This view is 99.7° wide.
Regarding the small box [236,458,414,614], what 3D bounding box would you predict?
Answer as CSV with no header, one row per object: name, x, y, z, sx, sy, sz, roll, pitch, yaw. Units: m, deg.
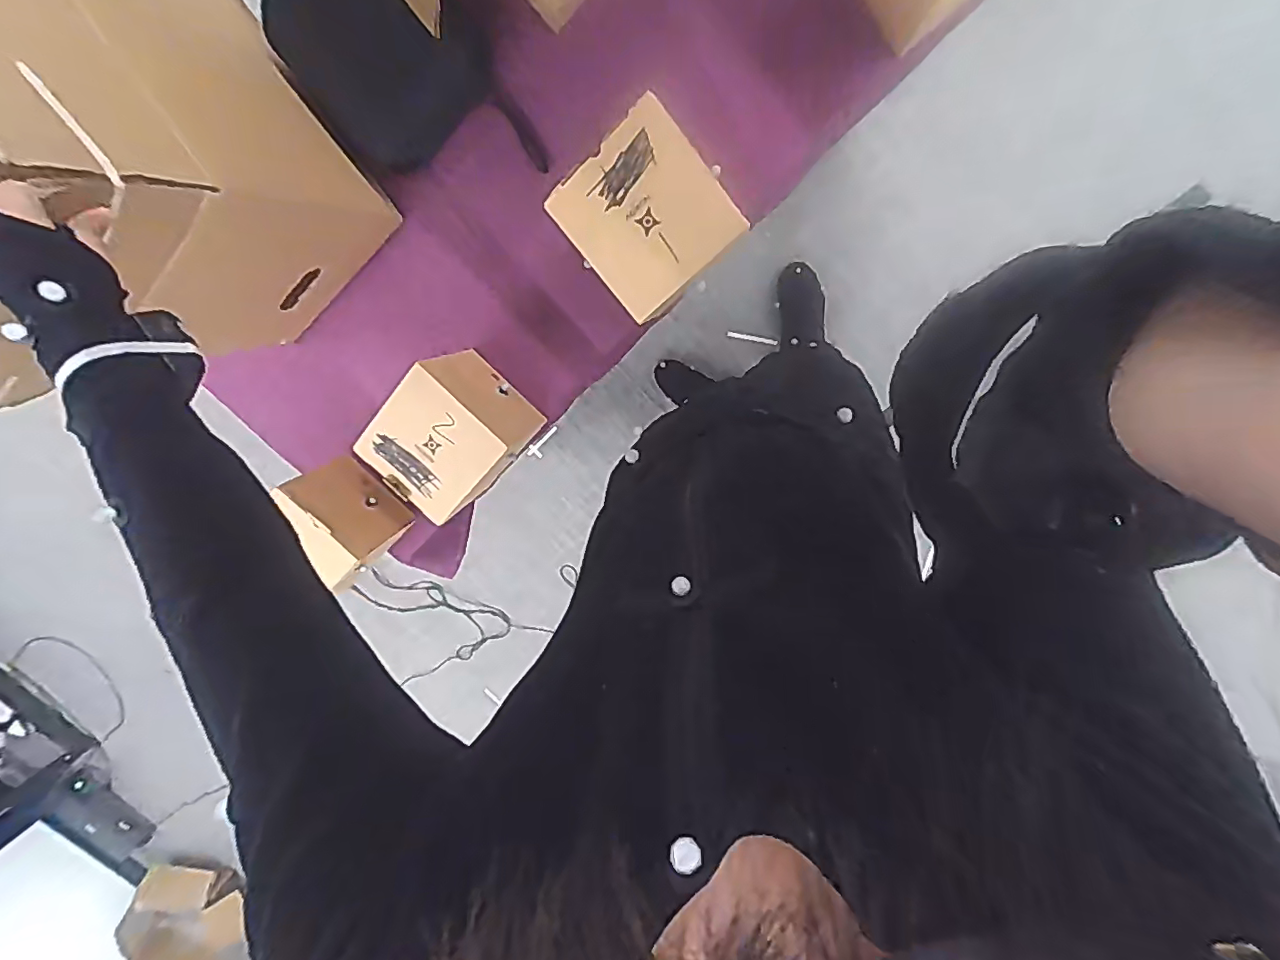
small box,-0.531,0.090,0.935,0.179,0.176,0.168,-42,98,20

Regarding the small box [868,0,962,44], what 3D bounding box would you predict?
small box,0.303,-0.589,0.527,0.168,0.176,0.179,-34,101,21

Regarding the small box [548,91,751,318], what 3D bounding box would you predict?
small box,0.020,-0.327,0.679,0.168,0.176,0.179,-37,101,21
